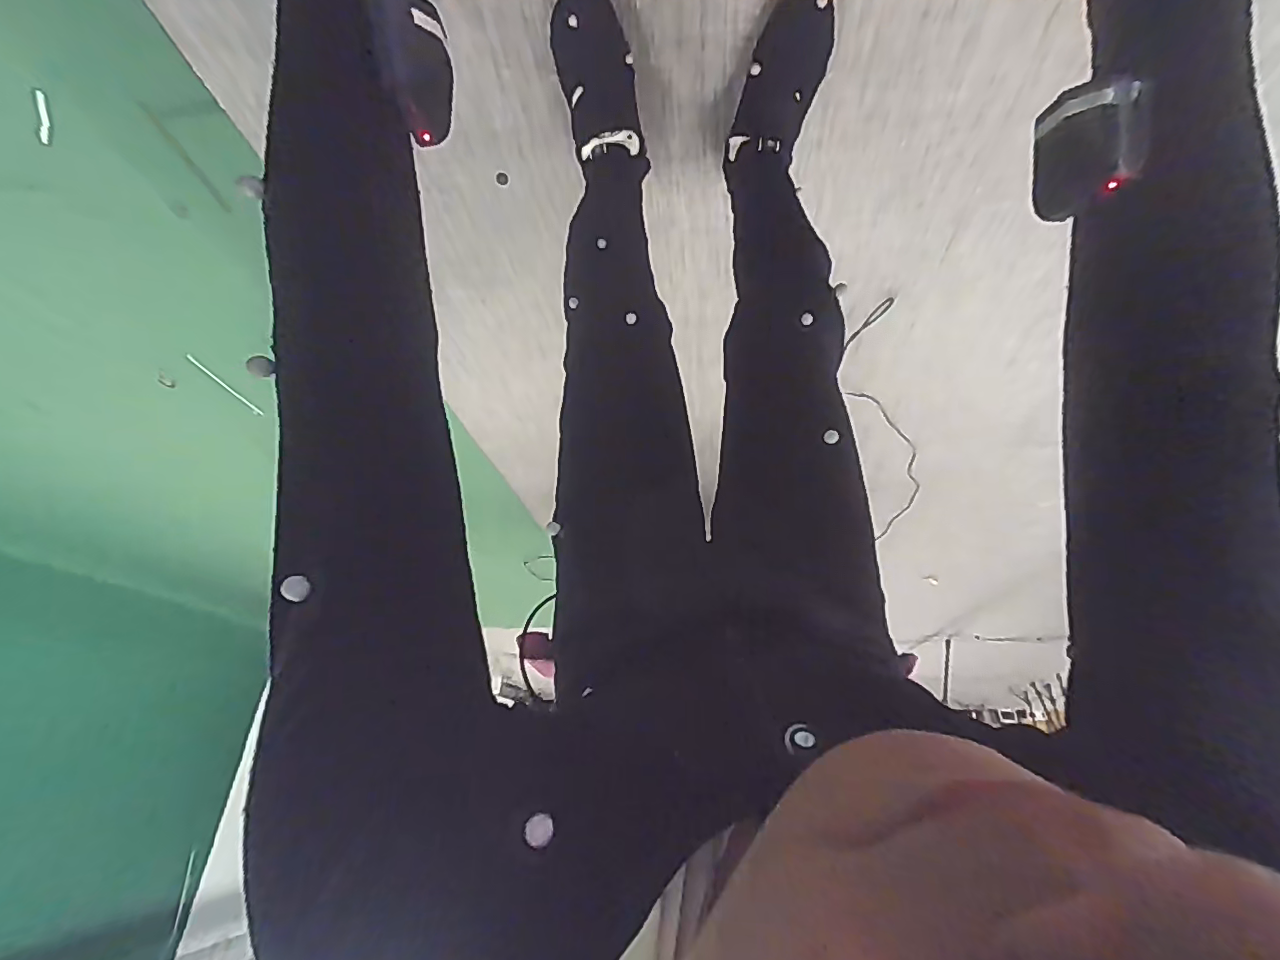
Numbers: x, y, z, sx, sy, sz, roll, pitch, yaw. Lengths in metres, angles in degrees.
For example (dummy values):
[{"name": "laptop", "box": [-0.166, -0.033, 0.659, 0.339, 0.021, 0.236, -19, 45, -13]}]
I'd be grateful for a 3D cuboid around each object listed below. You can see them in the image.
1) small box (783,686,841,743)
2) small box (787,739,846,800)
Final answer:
[{"name": "small box", "box": [0.598, 0.828, 1.899, 0.168, 0.176, 0.179, -2, 152, 9]}, {"name": "small box", "box": [0.590, 0.972, 1.824, 0.168, 0.176, 0.179, -2, 151, 10]}]
